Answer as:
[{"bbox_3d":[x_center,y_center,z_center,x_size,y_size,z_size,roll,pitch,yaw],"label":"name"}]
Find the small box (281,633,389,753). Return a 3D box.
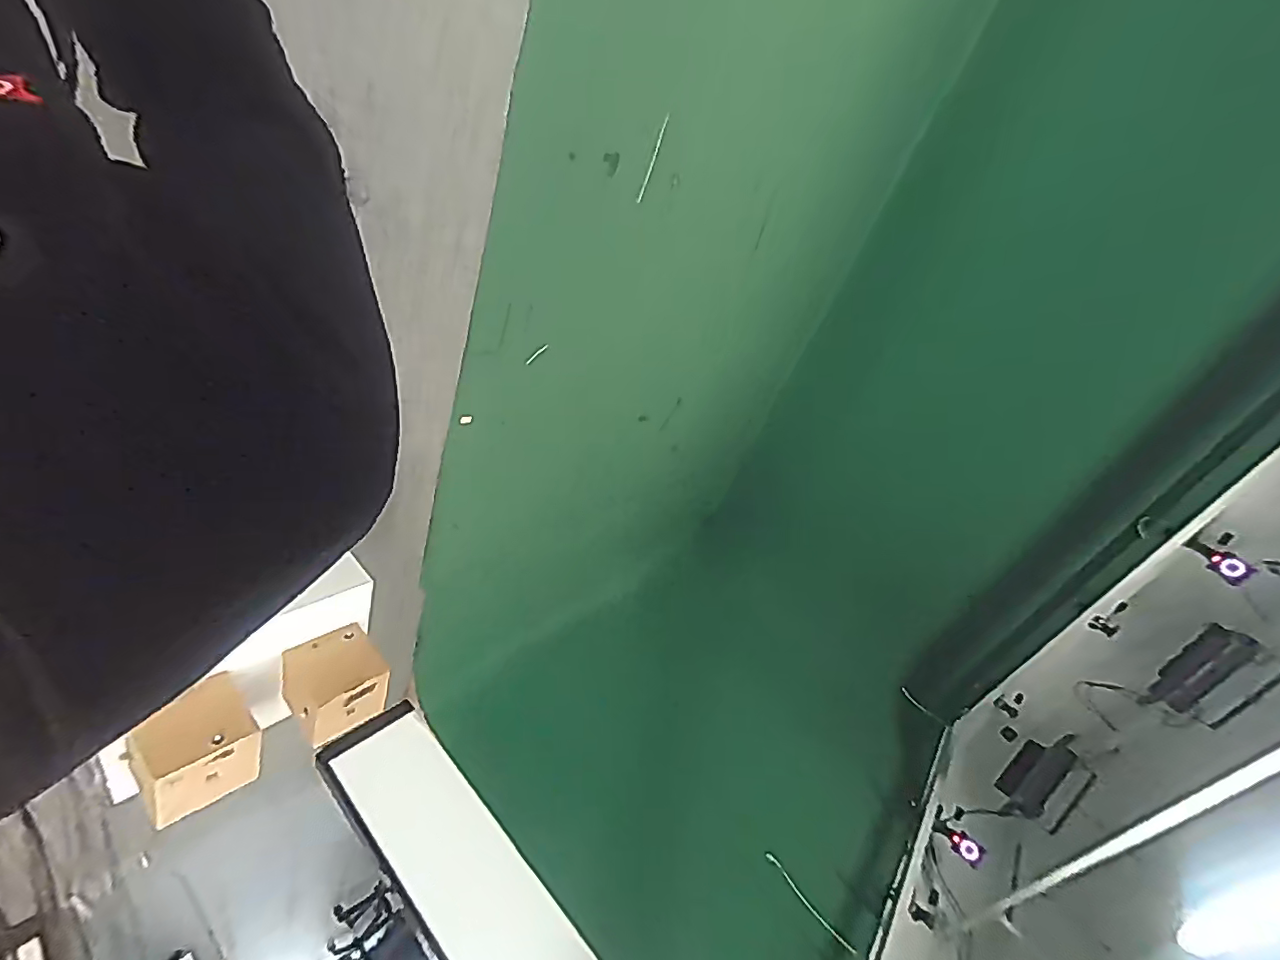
[{"bbox_3d":[-0.719,0.485,1.269,0.168,0.176,0.179,-19,141,-49],"label":"small box"}]

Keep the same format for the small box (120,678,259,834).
[{"bbox_3d":[-0.876,0.527,1.054,0.168,0.176,0.179,-18,140,-52],"label":"small box"}]
